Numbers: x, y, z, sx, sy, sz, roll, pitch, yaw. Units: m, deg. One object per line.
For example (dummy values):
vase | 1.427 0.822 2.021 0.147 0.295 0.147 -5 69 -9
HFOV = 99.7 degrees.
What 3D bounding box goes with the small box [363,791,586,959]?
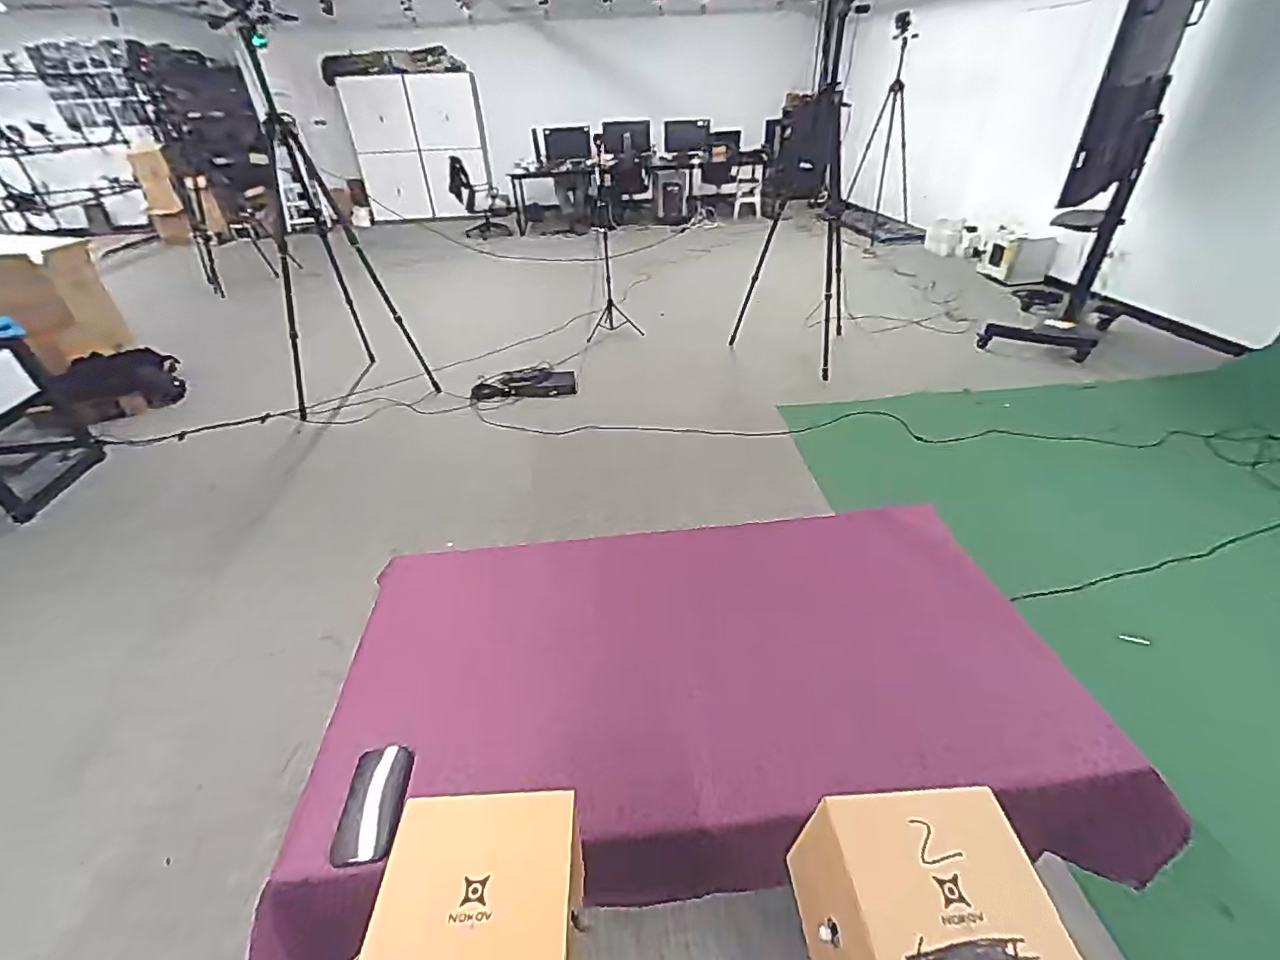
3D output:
small box | -0.139 0.423 0.504 0.168 0.176 0.179 -1 33 -2
